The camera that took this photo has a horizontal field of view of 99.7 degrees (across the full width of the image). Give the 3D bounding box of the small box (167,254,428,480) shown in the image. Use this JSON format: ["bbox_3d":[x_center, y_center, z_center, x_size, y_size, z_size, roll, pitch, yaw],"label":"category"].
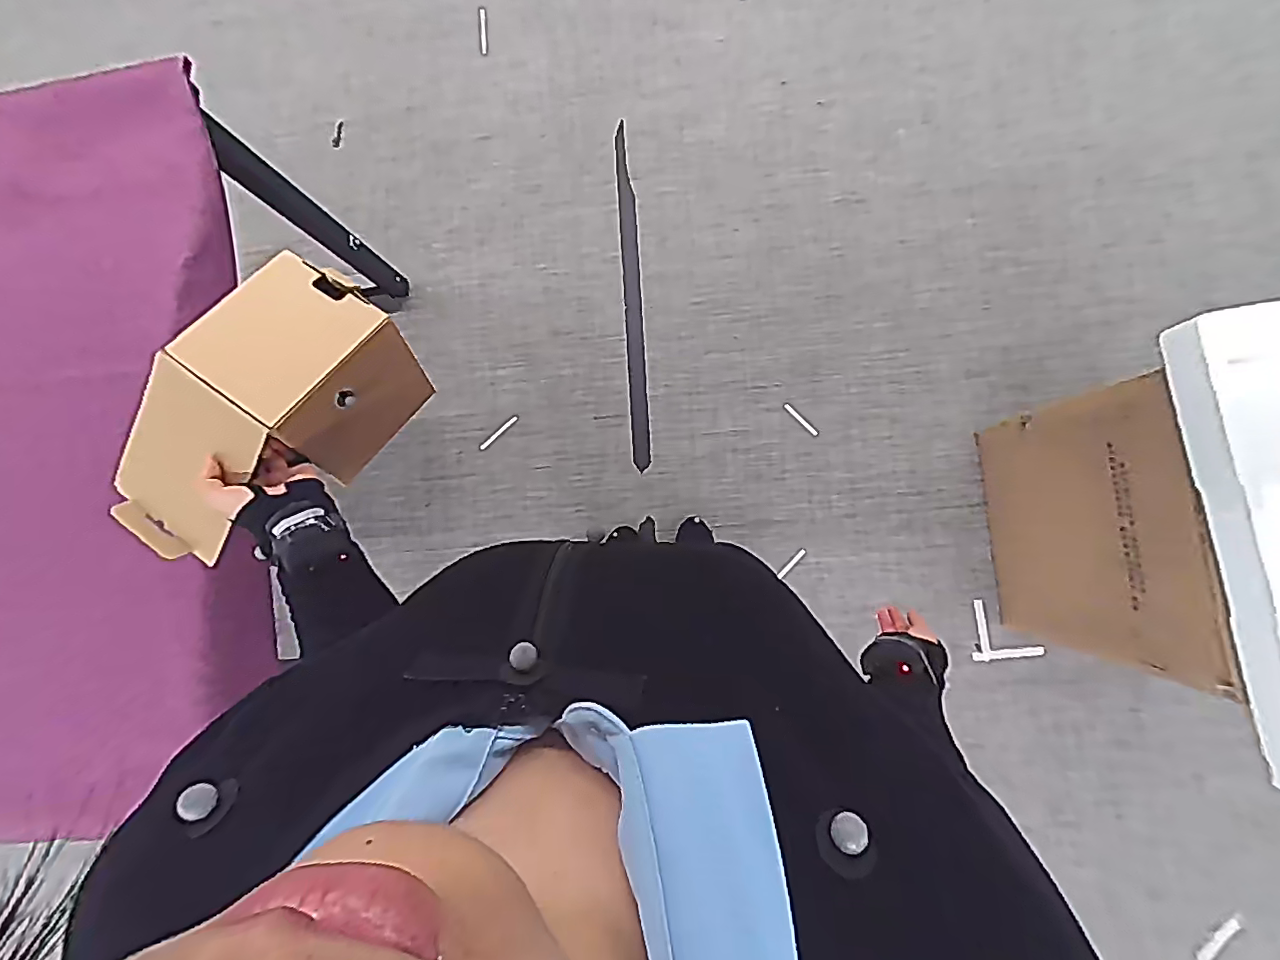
[{"bbox_3d":[-0.395,-0.127,0.663,0.168,0.176,0.179,34,70,10],"label":"small box"}]
